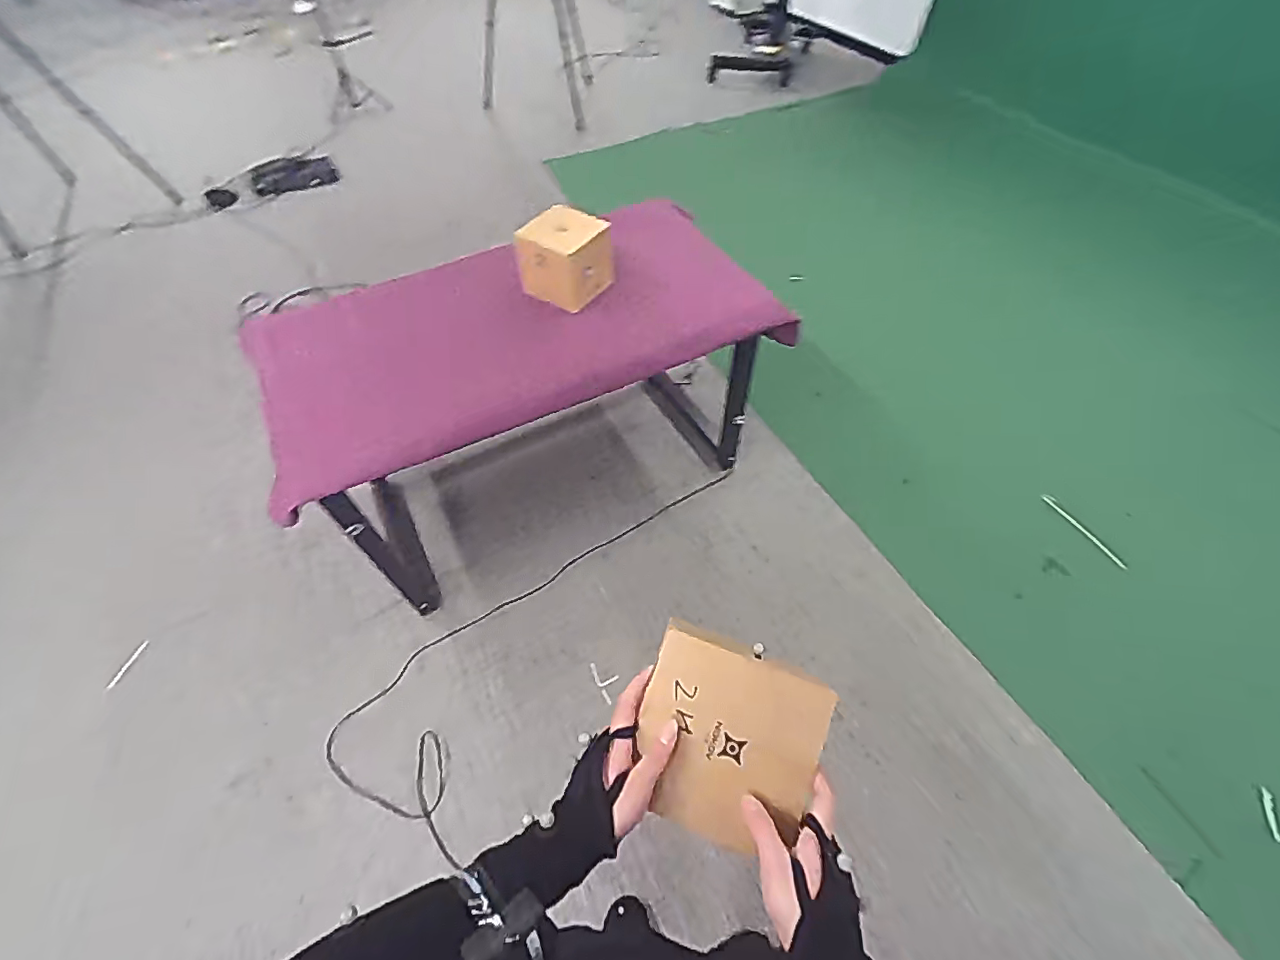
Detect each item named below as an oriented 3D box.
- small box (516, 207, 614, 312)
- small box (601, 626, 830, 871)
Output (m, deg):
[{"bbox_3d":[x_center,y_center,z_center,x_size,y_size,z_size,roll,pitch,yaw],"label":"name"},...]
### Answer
[{"bbox_3d":[-0.181,-0.556,1.376,0.179,0.176,0.168,29,60,21],"label":"small box"},{"bbox_3d":[0.077,0.265,0.585,0.179,0.176,0.168,19,80,8],"label":"small box"}]
